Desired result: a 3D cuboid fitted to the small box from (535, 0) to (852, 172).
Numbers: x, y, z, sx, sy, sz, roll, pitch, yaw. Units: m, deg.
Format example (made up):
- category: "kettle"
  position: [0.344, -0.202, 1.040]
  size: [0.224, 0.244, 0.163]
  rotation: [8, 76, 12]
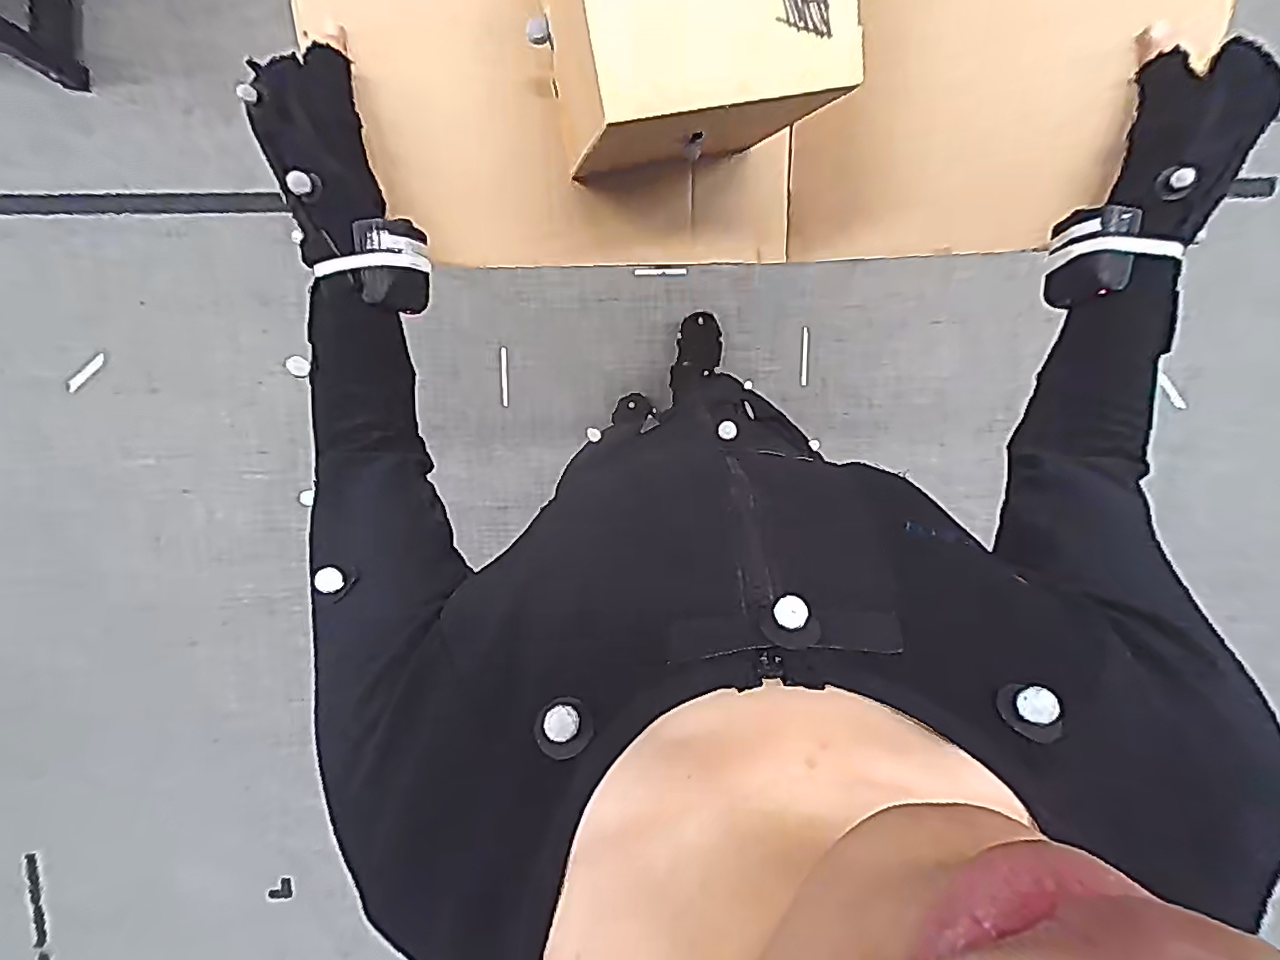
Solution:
- category: "small box"
  position: [0.027, -0.340, 0.390]
  size: [0.179, 0.176, 0.168]
  rotation: [-15, 111, -9]
